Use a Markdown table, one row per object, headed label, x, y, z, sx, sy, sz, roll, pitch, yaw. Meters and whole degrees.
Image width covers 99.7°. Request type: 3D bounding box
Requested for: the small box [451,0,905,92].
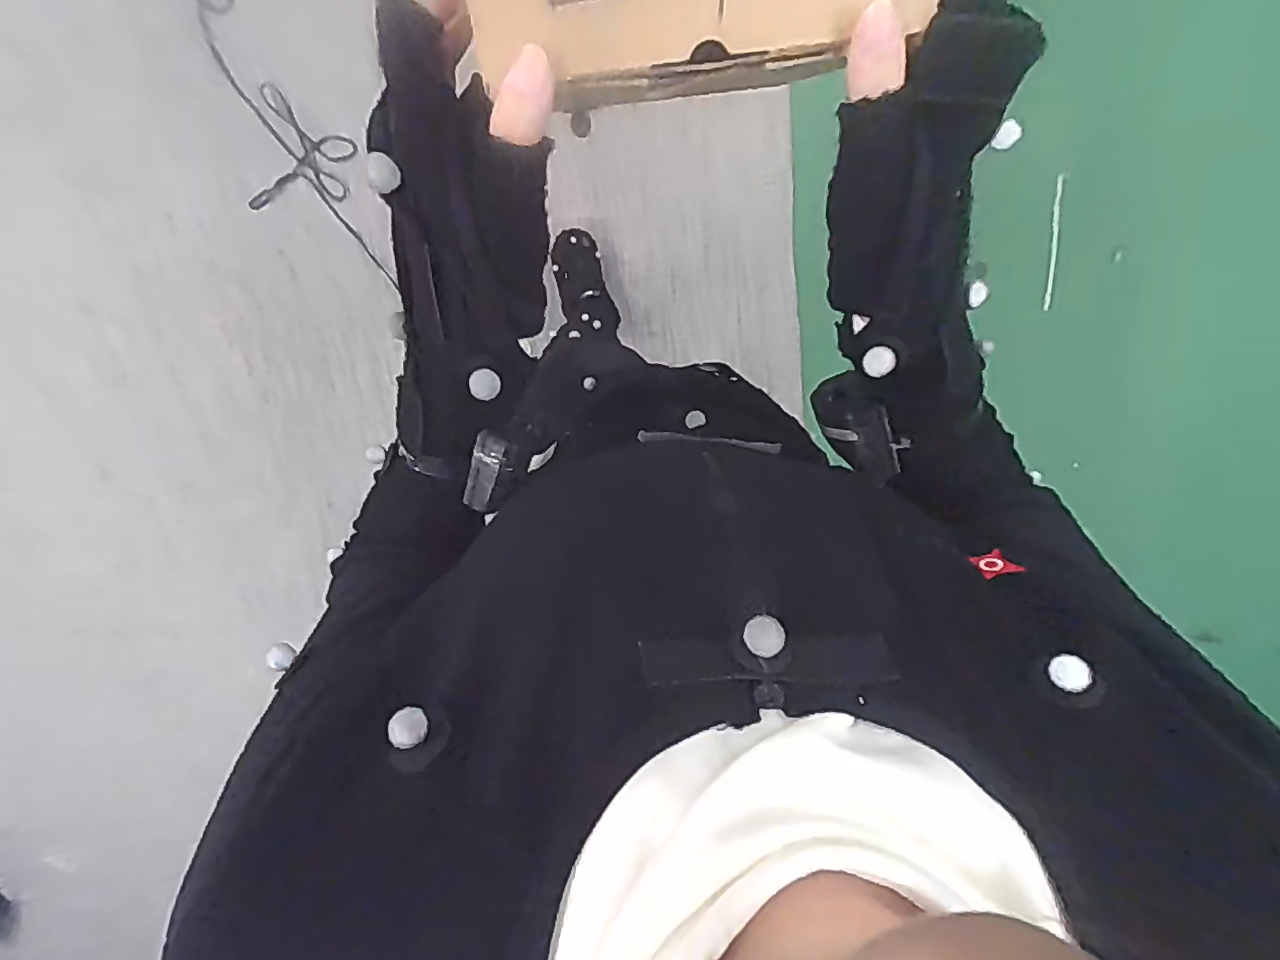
| label | x | y | z | sx | sy | sz | roll | pitch | yaw |
| --- | --- | --- | --- | --- | --- | --- | --- | --- | --- |
| small box | 0.004 | -0.273 | 0.219 | 0.168 | 0.176 | 0.179 | -8 | 121 | 0 |
